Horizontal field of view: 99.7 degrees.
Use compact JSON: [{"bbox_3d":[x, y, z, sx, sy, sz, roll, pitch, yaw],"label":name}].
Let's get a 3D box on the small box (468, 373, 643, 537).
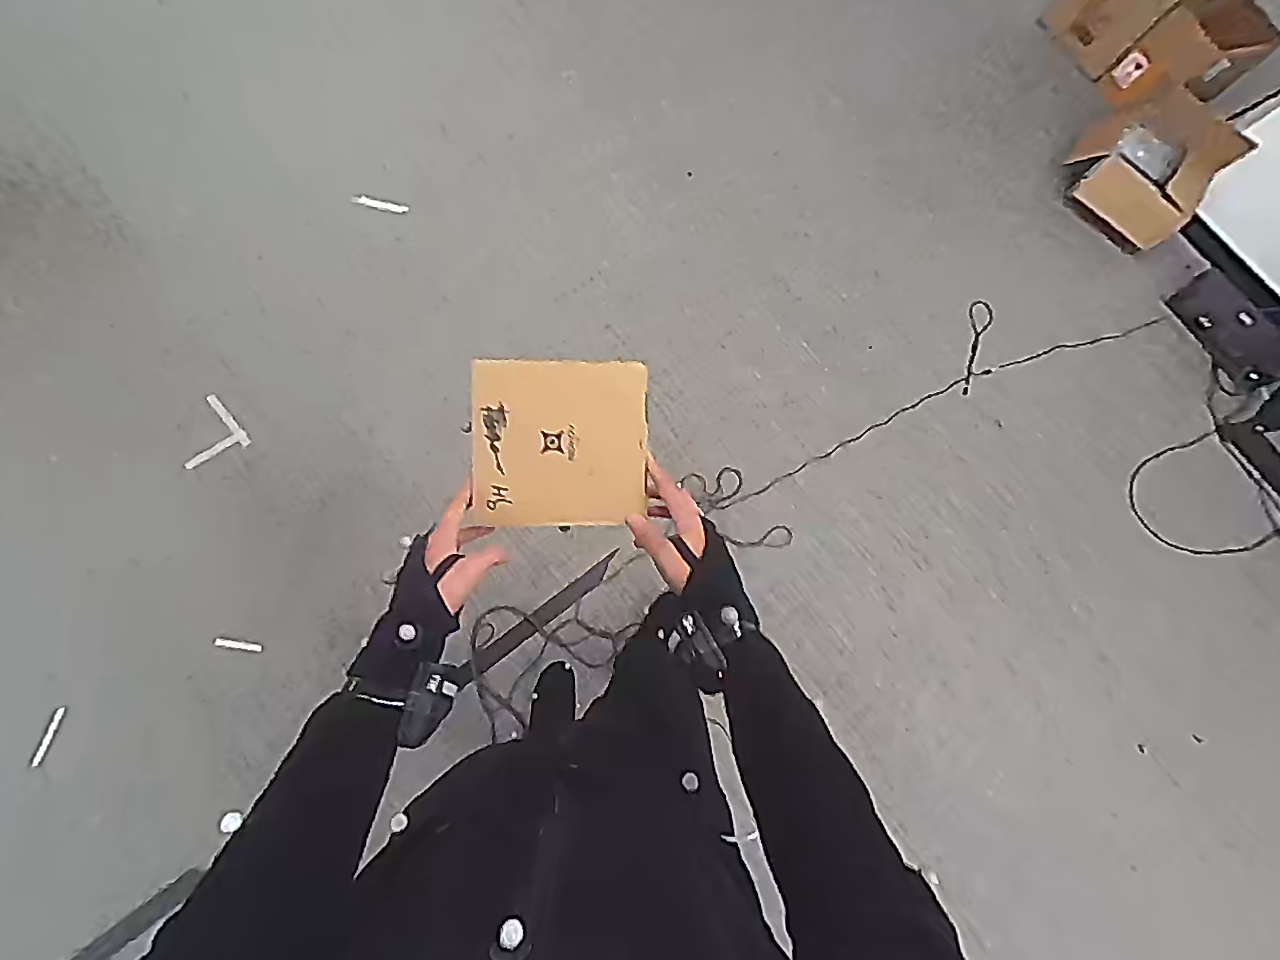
[{"bbox_3d":[-0.094,-0.027,0.625,0.179,0.176,0.168,-1,91,-7],"label":"small box"}]
